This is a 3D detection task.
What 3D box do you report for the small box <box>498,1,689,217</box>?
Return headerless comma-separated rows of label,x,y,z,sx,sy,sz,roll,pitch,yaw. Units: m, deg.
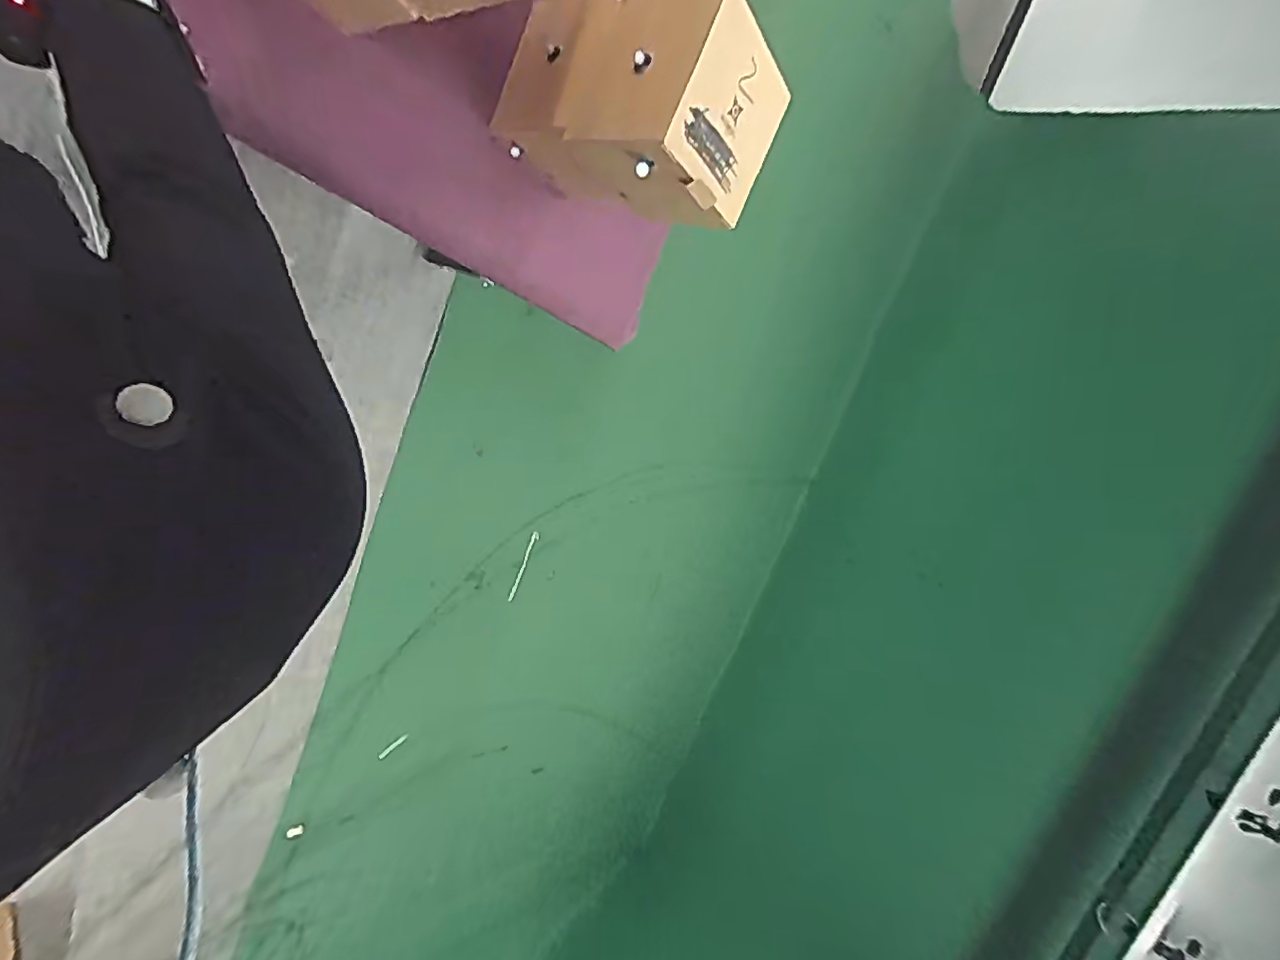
small box,-0.069,-0.499,0.748,0.168,0.176,0.179,19,98,-55
